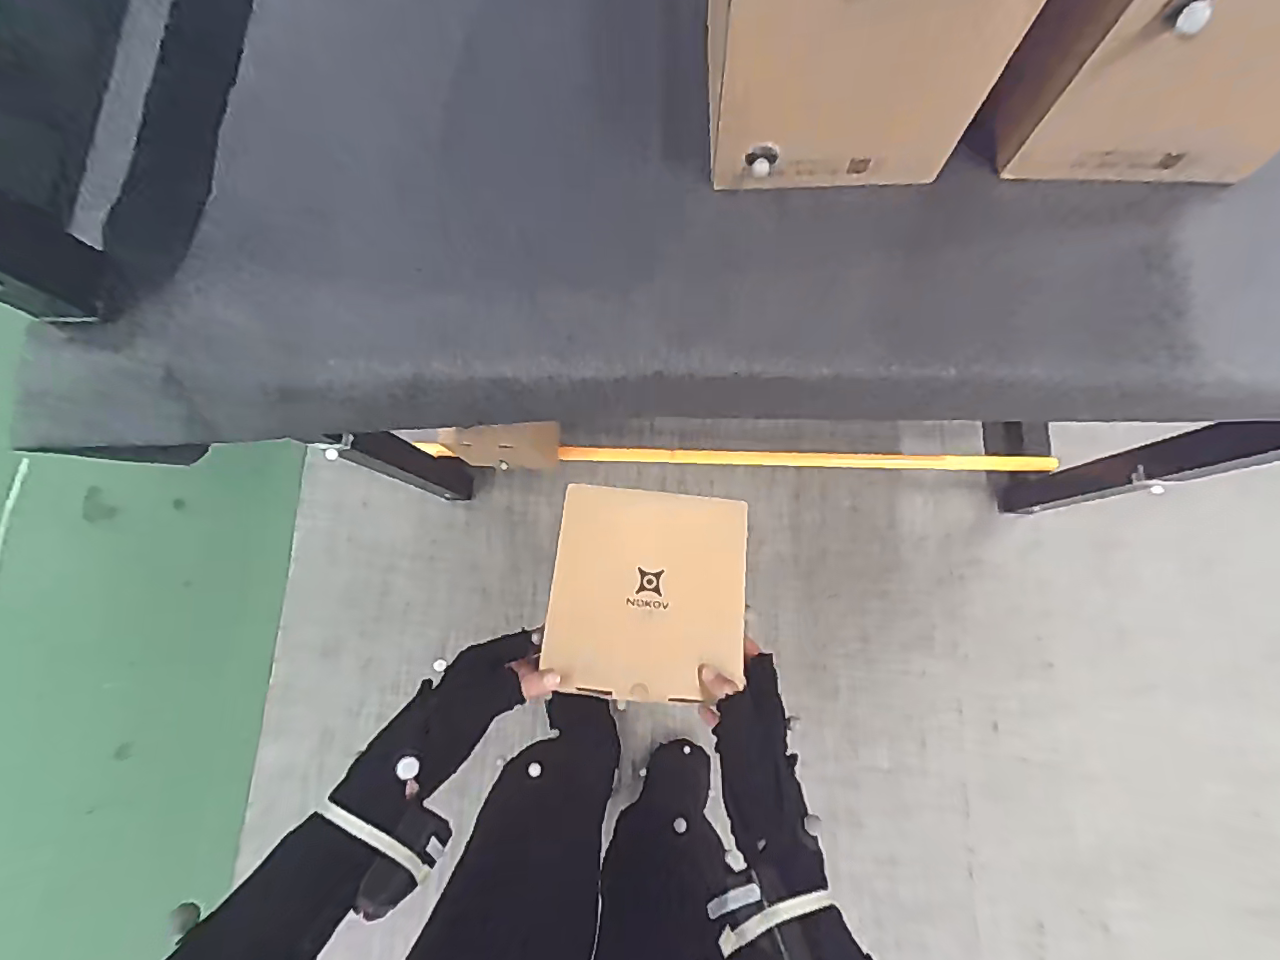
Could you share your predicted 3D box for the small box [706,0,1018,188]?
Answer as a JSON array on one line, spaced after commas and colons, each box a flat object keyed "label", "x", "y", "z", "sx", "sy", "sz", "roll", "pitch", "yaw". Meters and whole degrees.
[{"label": "small box", "x": 0.132, "y": -0.323, "z": 0.362, "sx": 0.168, "sy": 0.176, "sz": 0.179, "roll": 0, "pitch": 77, "yaw": 4}]

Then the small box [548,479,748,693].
[{"label": "small box", "x": 0.009, "y": 0.115, "z": 0.552, "sx": 0.168, "sy": 0.176, "sz": 0.179, "roll": 6, "pitch": 70, "yaw": 1}]
